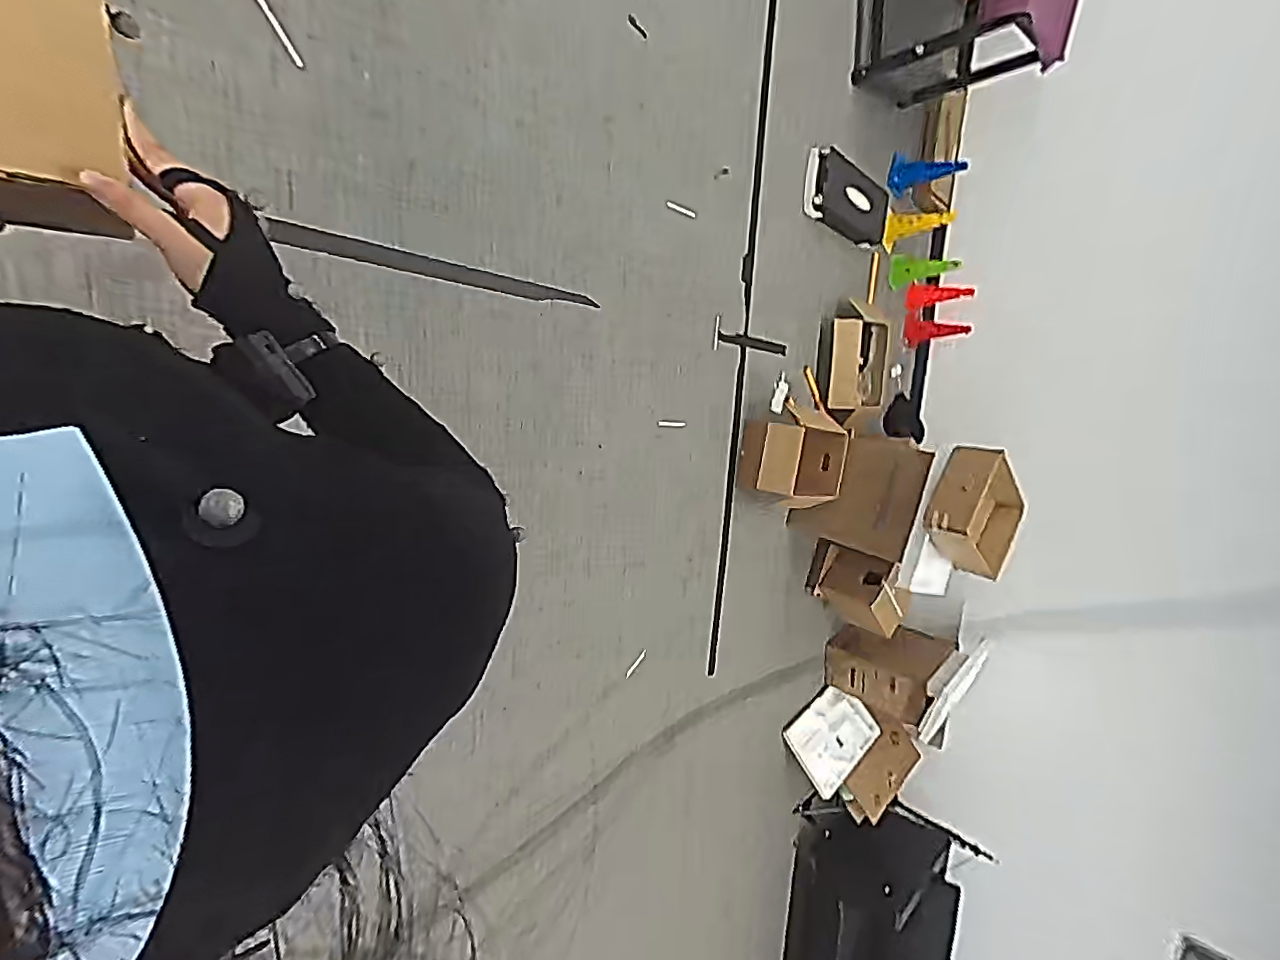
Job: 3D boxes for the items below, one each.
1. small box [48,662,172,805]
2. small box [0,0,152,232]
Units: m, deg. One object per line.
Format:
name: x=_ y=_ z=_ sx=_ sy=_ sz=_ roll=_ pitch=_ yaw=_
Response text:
small box: x=-1.068 y=0.503 z=1.100 sx=0.168 sy=0.176 sz=0.179 roll=-6 pitch=103 yaw=-43
small box: x=-0.457 y=-0.291 z=0.369 sx=0.168 sy=0.176 sz=0.179 roll=-8 pitch=103 yaw=-42
